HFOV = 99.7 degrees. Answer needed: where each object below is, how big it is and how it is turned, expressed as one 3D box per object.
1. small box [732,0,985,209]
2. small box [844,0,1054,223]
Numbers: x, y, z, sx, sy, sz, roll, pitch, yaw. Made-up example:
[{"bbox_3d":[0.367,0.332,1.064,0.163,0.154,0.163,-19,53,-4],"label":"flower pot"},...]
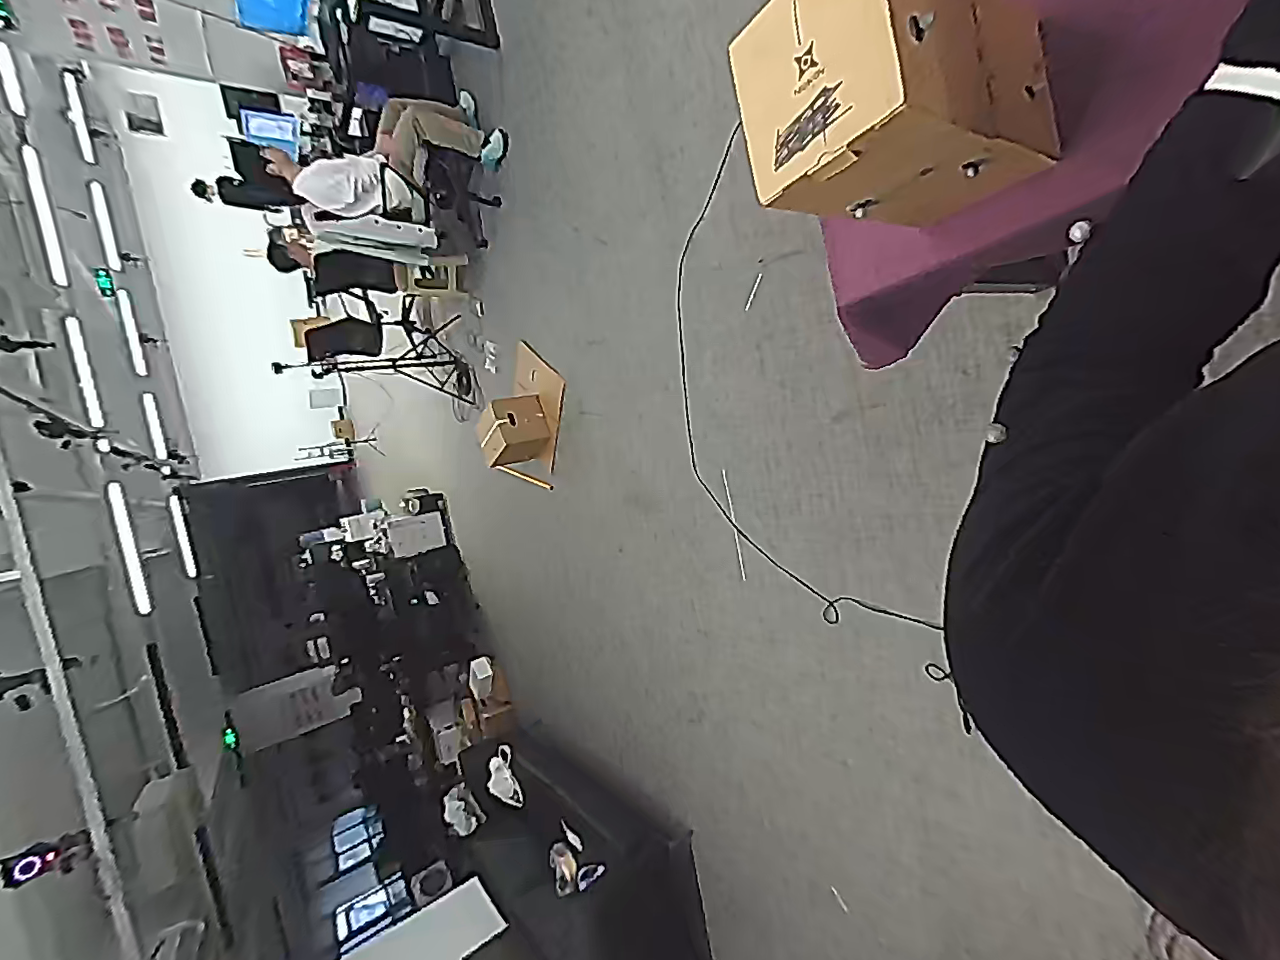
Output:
[{"bbox_3d":[0.226,-0.403,0.559,0.168,0.176,0.179,-10,91,55],"label":"small box"},{"bbox_3d":[0.356,-0.432,0.653,0.179,0.176,0.168,-10,93,54],"label":"small box"}]
